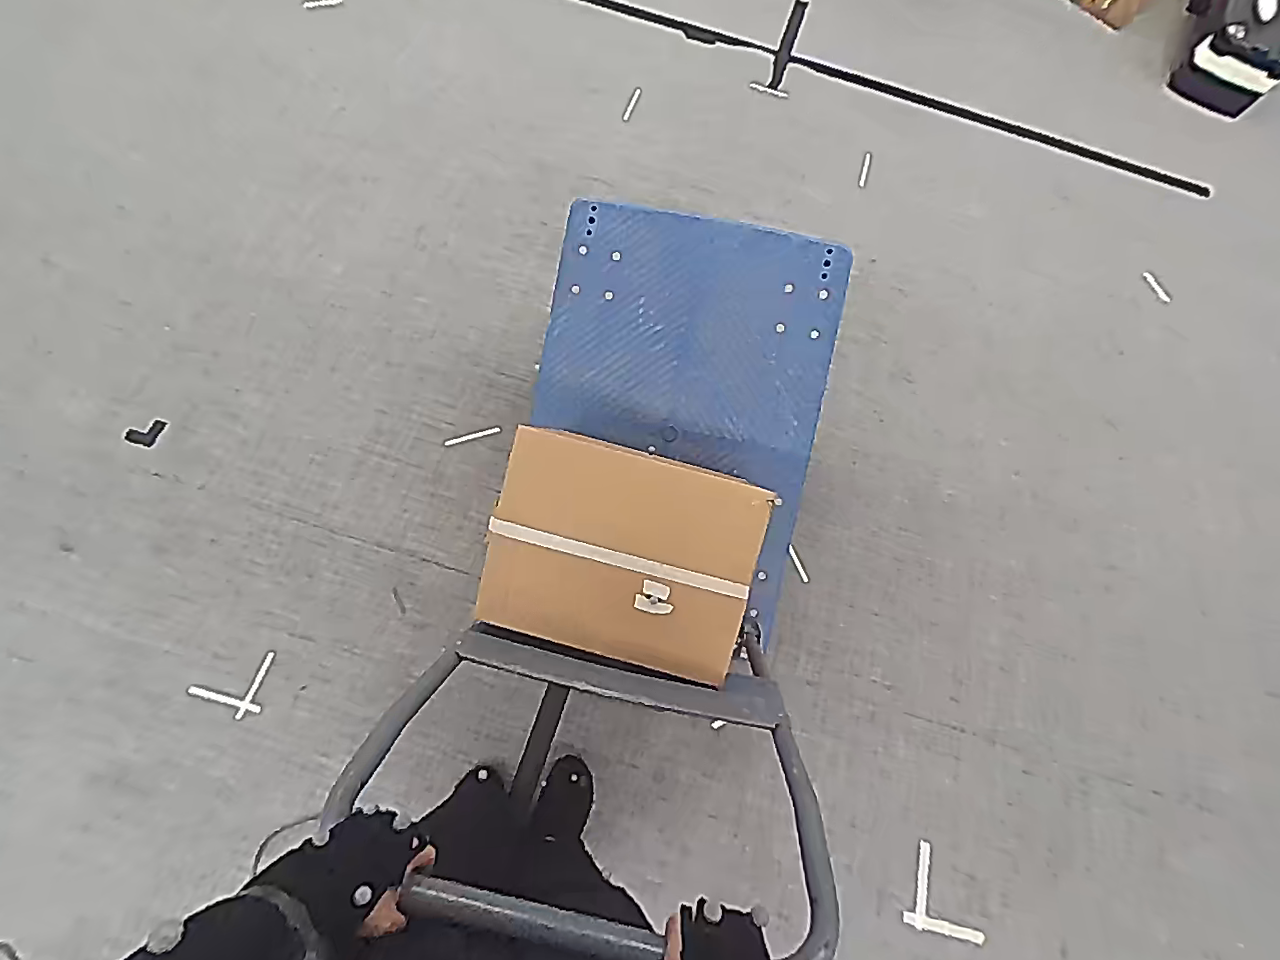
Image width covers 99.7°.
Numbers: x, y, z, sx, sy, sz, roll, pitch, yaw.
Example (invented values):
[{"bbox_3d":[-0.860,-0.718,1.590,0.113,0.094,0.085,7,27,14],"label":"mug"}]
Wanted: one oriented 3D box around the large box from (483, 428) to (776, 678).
[{"bbox_3d":[-0.017,0.105,0.979,0.408,0.320,0.320,15,95,1],"label":"large box"}]
